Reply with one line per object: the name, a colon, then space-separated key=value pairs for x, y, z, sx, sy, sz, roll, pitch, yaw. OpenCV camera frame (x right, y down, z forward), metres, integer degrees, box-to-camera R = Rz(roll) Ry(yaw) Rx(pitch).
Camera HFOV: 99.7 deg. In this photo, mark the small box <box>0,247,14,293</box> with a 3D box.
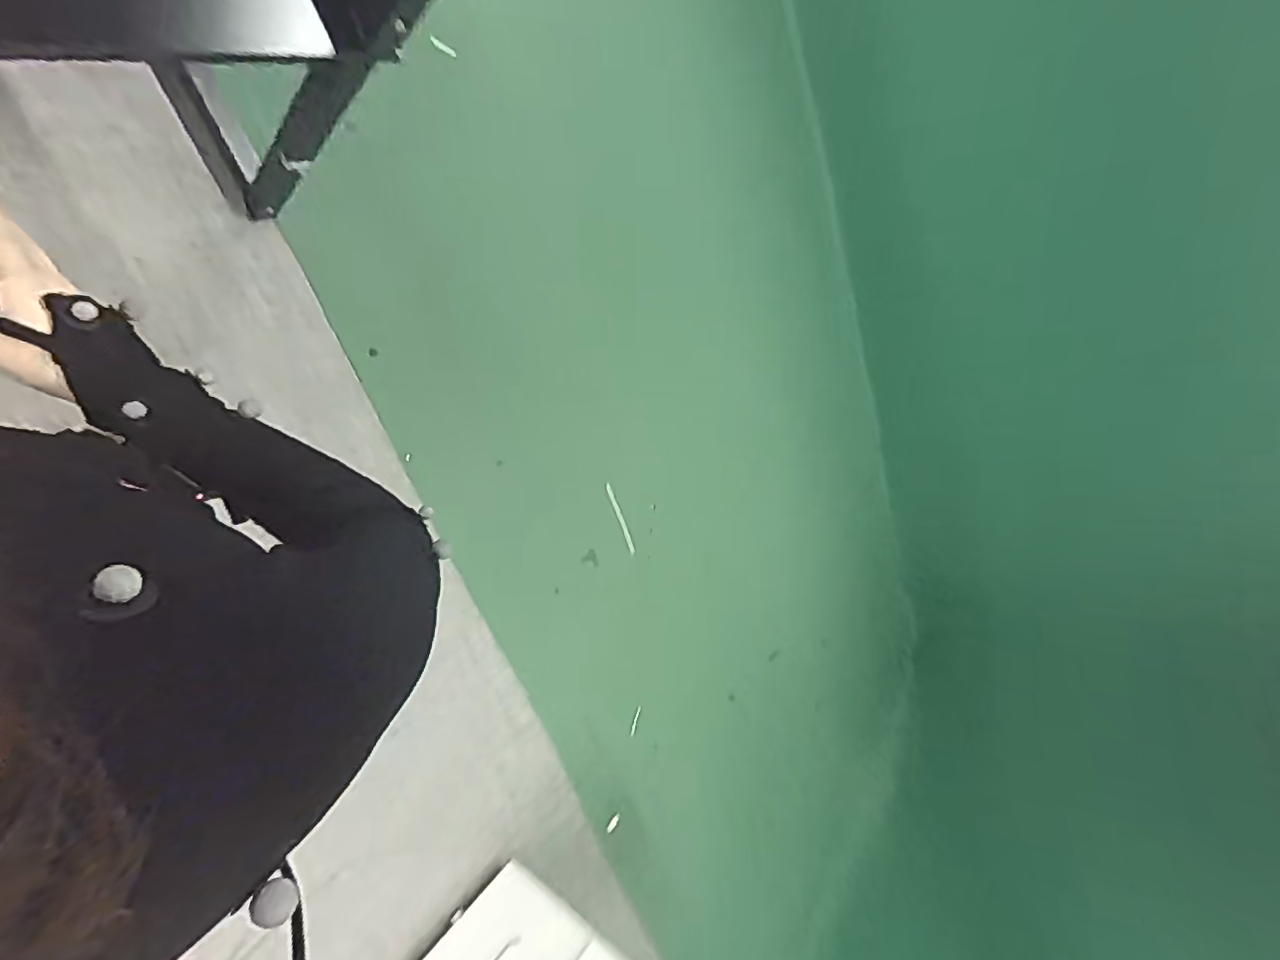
small box: x=-0.464 y=-0.183 z=0.258 sx=0.179 sy=0.176 sz=0.168 roll=-17 pitch=101 yaw=-42
